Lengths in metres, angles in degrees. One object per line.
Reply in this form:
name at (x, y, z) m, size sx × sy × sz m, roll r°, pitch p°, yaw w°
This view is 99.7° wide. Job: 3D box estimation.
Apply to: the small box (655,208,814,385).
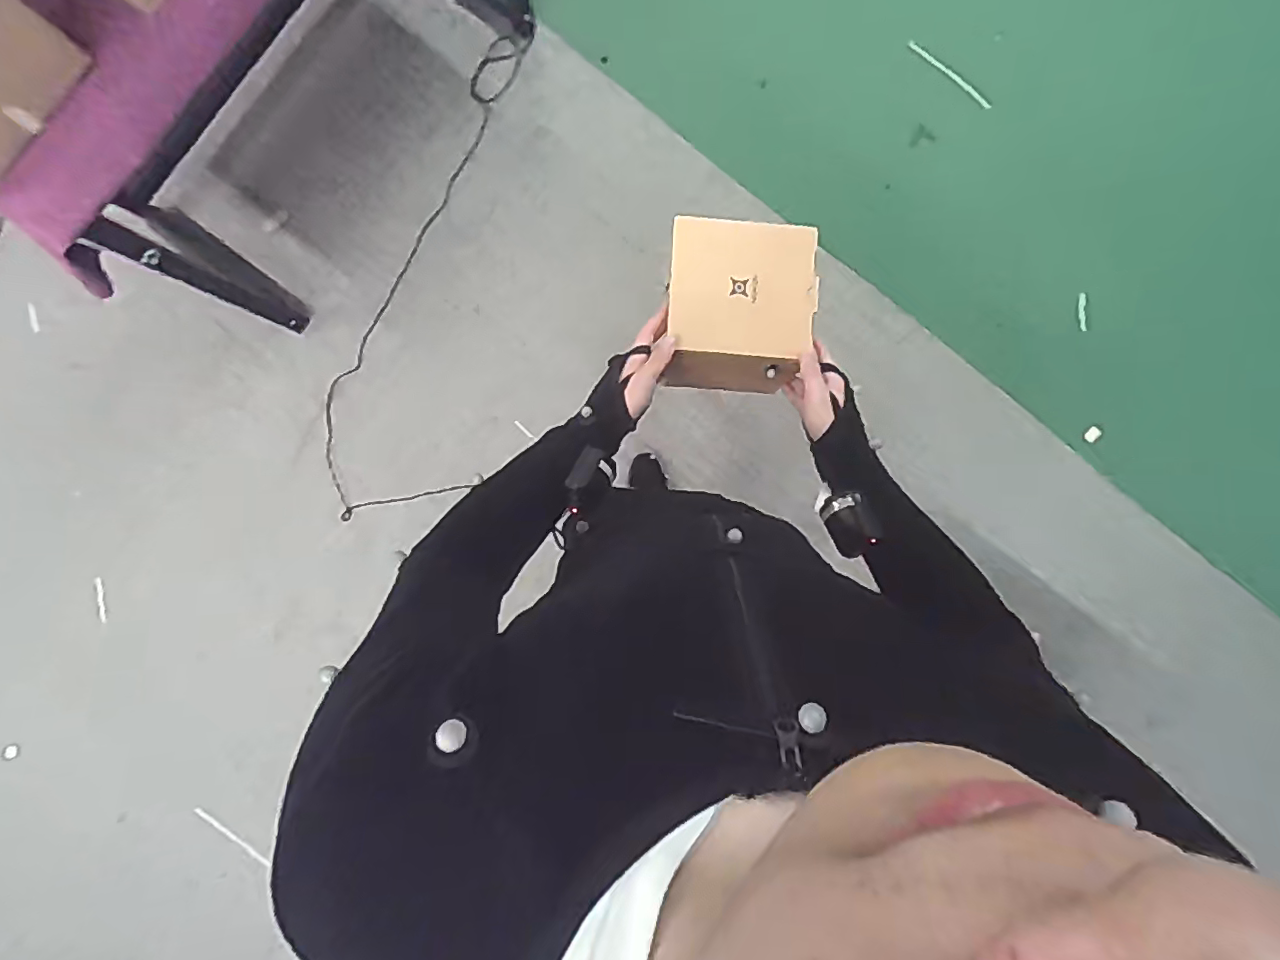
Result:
small box at (0.113, -0.227, 0.708) m, size 0.179 × 0.176 × 0.168 m, roll 3°, pitch 85°, yaw -2°
